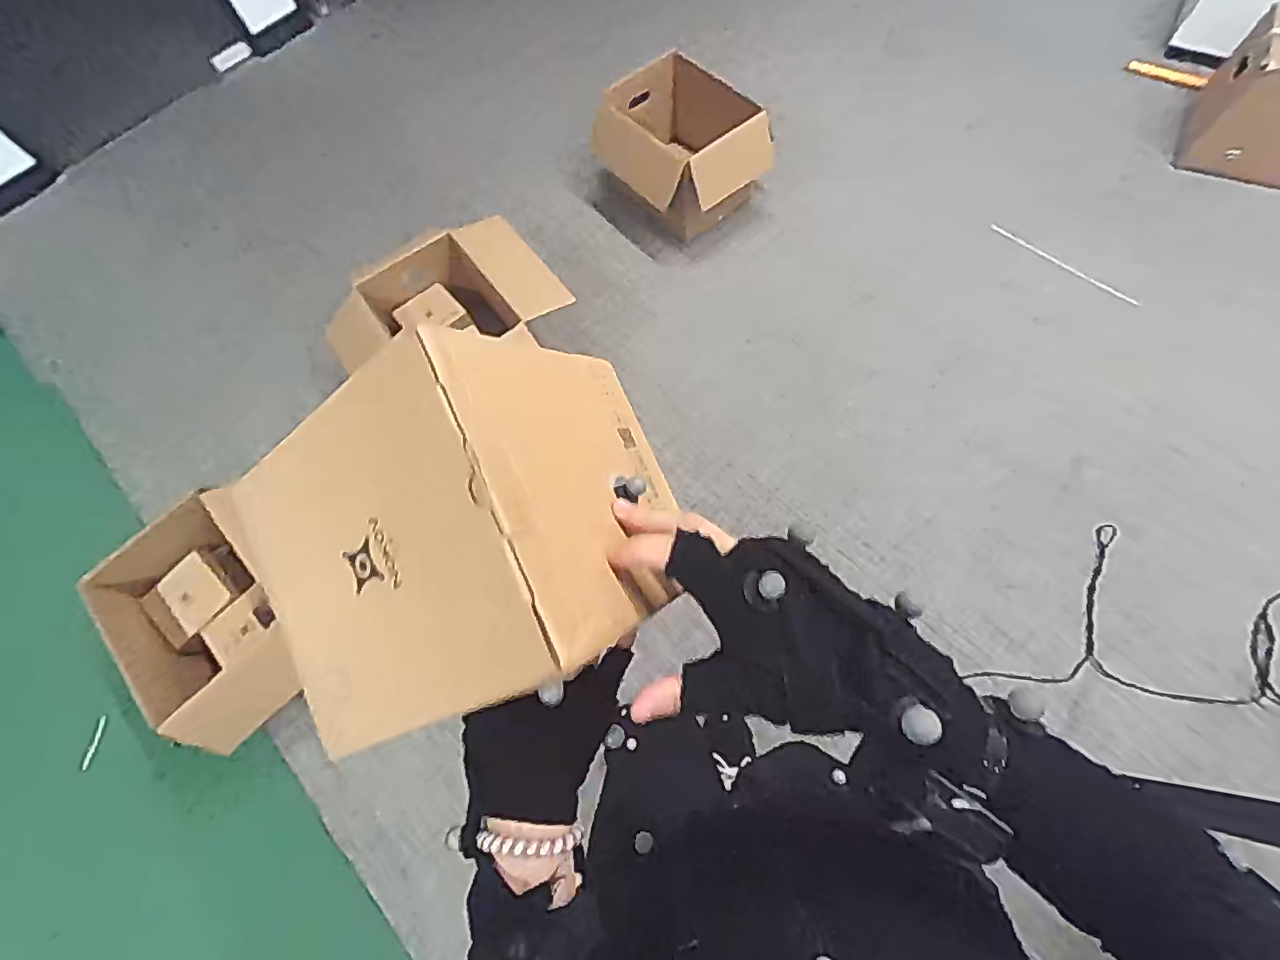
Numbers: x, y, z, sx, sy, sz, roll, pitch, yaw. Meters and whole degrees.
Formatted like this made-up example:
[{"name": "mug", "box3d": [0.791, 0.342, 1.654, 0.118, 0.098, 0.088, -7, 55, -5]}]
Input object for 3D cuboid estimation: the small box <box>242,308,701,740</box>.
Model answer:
[{"name": "small box", "box3d": [-0.090, 0.026, 0.332, 0.179, 0.176, 0.168, -27, 84, 25]}]
